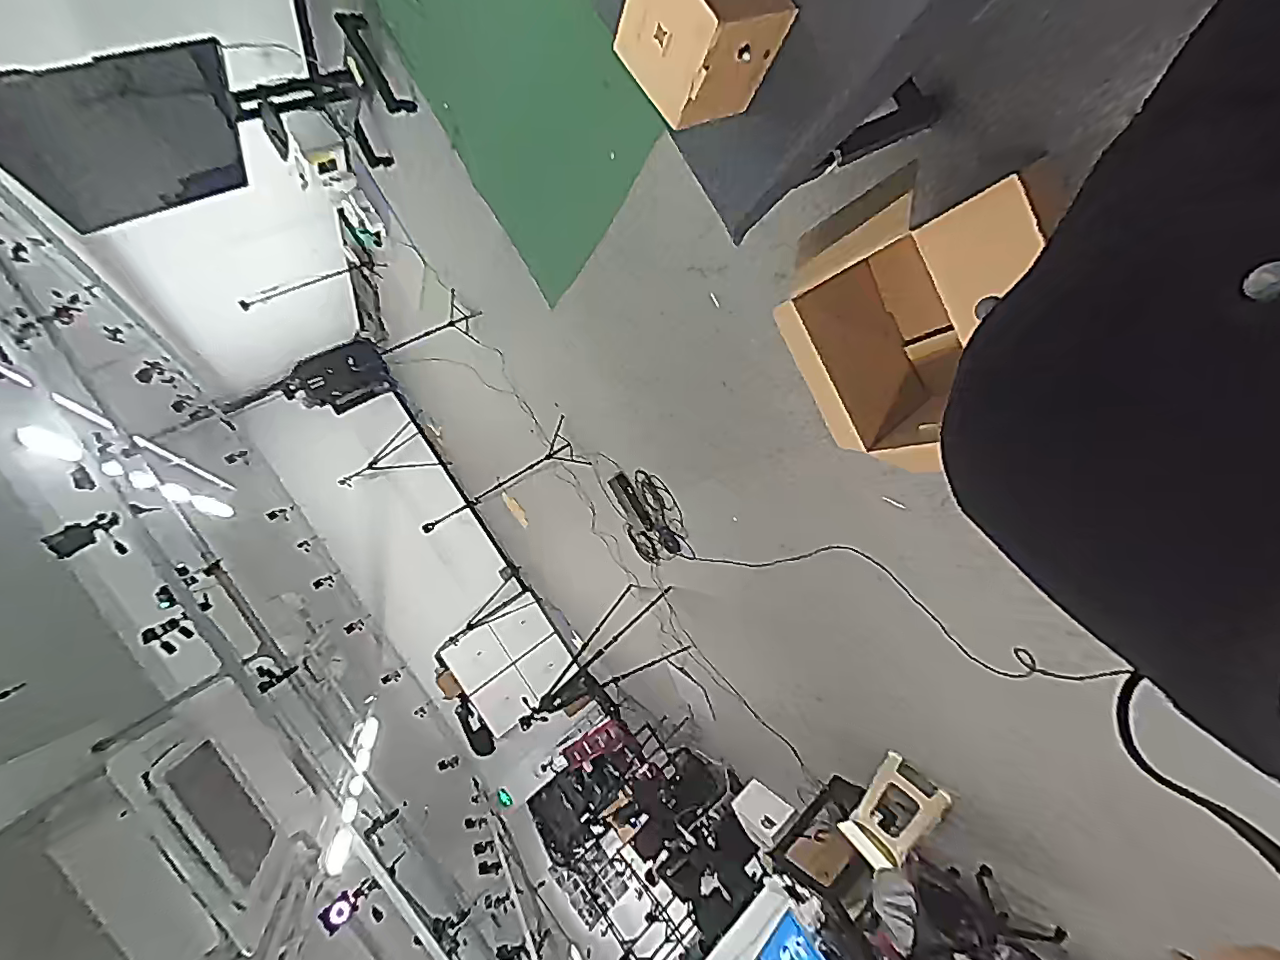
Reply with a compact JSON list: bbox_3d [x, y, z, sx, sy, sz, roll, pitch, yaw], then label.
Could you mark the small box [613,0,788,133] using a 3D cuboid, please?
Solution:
[{"bbox_3d":[0.091,-0.685,0.829,0.179,0.176,0.168,56,154,5],"label":"small box"}]
